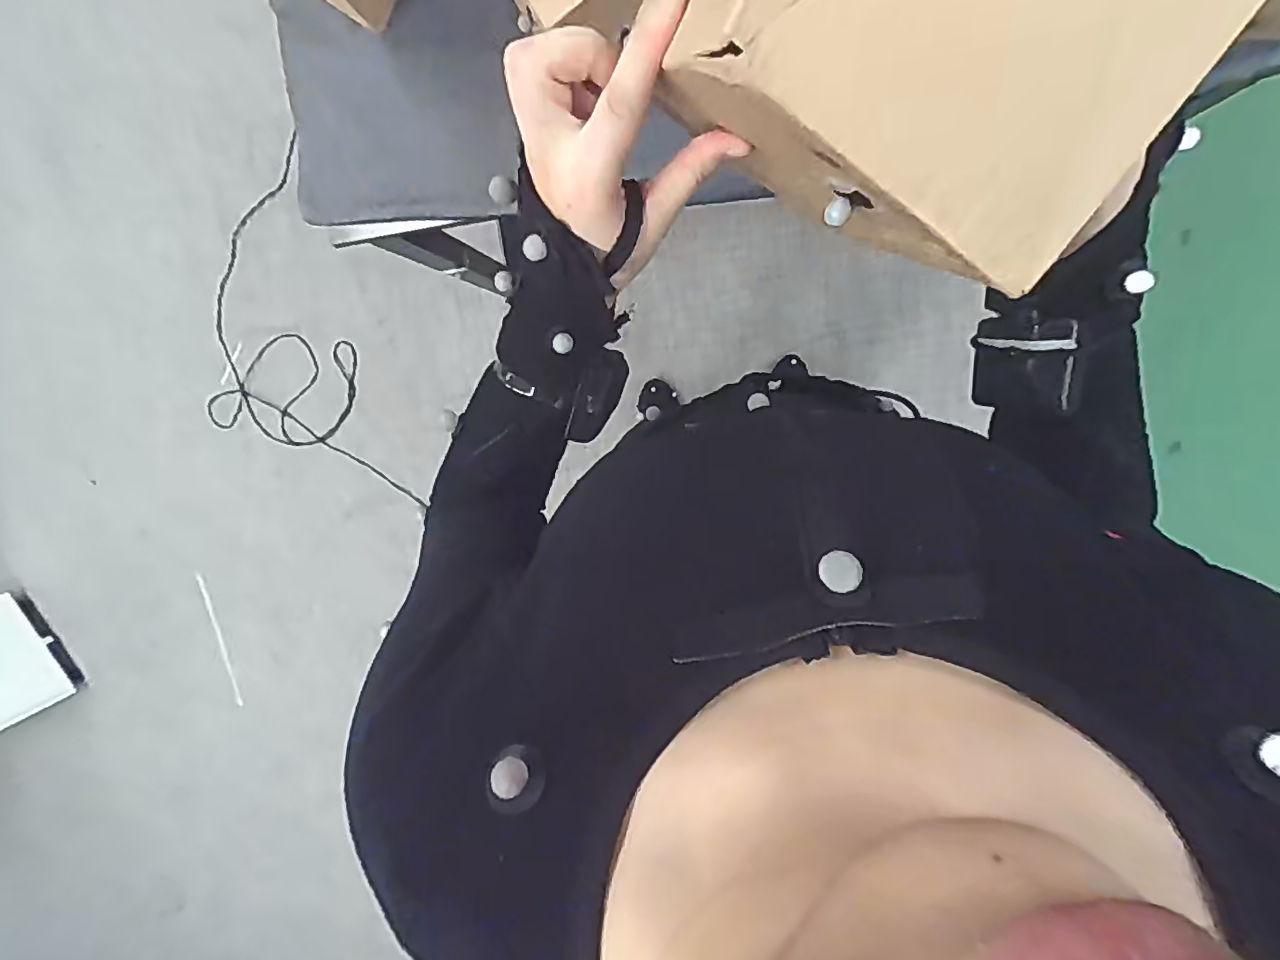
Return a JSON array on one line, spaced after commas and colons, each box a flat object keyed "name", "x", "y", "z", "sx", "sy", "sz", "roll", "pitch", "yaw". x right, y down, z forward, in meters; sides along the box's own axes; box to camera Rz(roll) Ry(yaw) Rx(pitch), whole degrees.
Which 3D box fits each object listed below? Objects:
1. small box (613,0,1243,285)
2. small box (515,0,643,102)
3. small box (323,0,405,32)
[{"name": "small box", "x": 0.113, "y": -0.211, "z": 0.223, "sx": 0.168, "sy": 0.176, "sz": 0.179, "roll": 19, "pitch": 116, "yaw": -26}, {"name": "small box", "x": -0.055, "y": -0.554, "z": 0.581, "sx": 0.168, "sy": 0.176, "sz": 0.179, "roll": -31, "pitch": 94, "yaw": 11}, {"name": "small box", "x": -0.365, "y": -0.662, "z": 0.601, "sx": 0.179, "sy": 0.176, "sz": 0.168, "roll": 33, "pitch": 103, "yaw": 0}]
